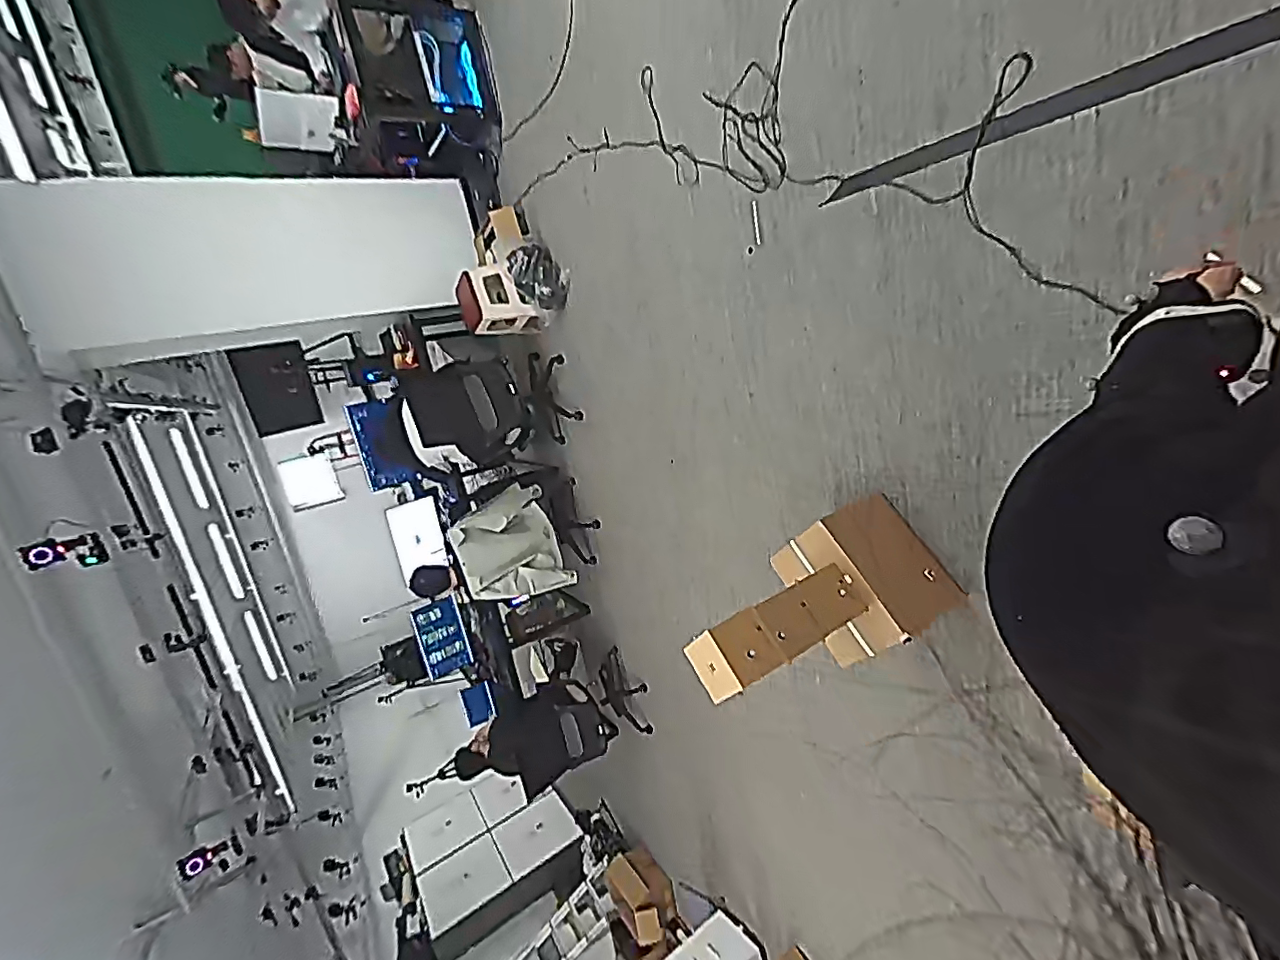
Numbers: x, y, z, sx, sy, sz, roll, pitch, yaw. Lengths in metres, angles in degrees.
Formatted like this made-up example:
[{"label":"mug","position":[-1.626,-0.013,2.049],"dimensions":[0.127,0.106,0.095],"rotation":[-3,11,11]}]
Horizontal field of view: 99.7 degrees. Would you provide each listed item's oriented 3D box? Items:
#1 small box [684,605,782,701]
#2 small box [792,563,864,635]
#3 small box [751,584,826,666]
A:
[{"label":"small box","position":[0.252,0.461,1.449],"dimensions":[0.168,0.176,0.179],"rotation":[58,148,22]},{"label":"small box","position":[0.524,0.372,1.607],"dimensions":[0.168,0.176,0.179],"rotation":[58,148,22]},{"label":"small box","position":[0.388,0.420,1.529],"dimensions":[0.168,0.176,0.179],"rotation":[58,149,21]}]
